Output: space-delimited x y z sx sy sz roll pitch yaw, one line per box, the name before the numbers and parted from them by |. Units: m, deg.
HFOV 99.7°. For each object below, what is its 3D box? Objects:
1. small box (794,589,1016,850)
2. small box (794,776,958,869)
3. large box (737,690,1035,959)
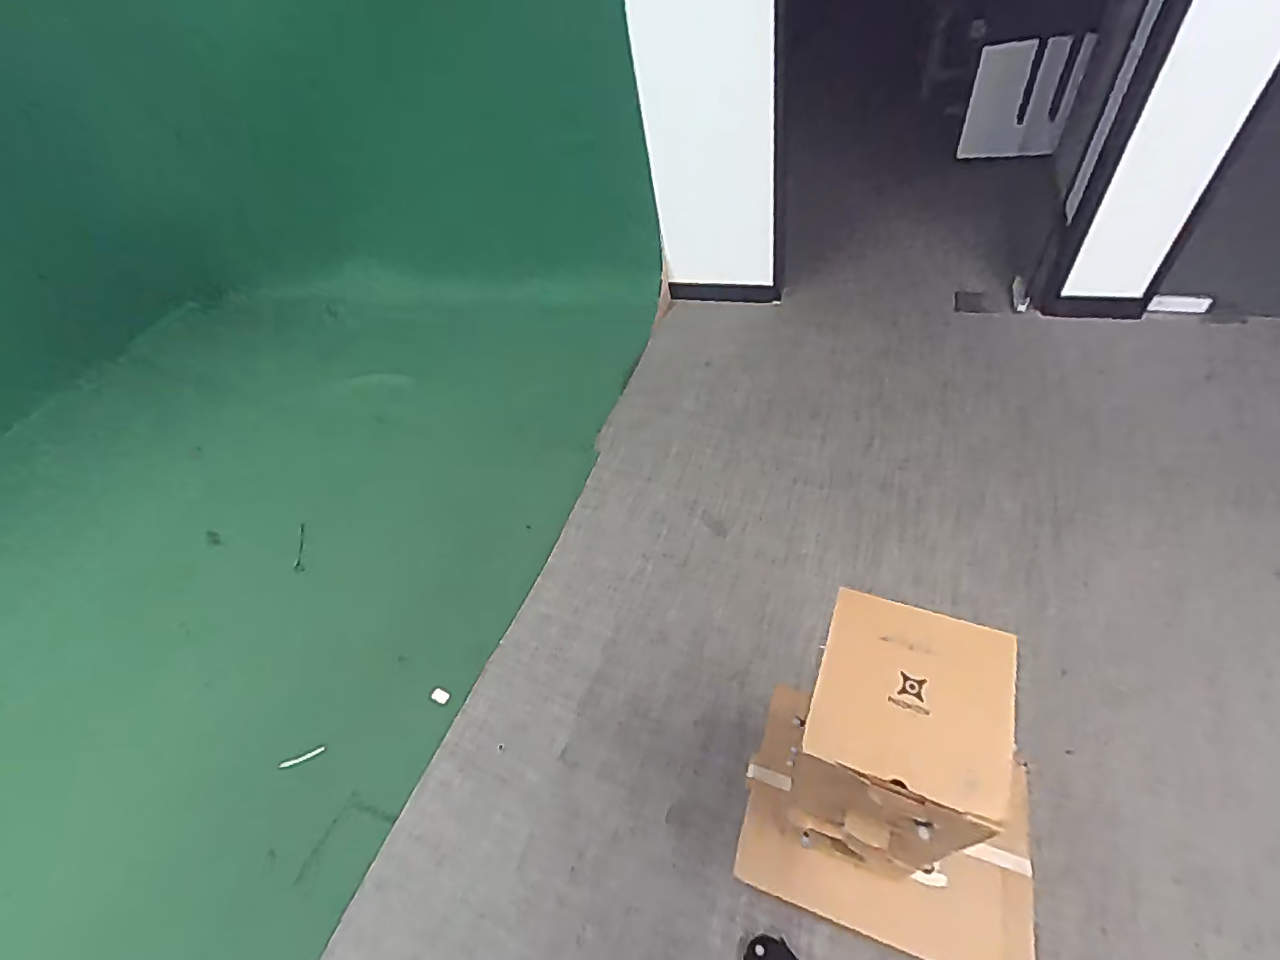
small box | 0.261 0.247 0.557 0.168 0.176 0.179 14 54 22
small box | 0.297 0.349 0.680 0.168 0.176 0.179 15 55 24
large box | 0.403 0.626 0.961 0.408 0.320 0.320 11 55 20
